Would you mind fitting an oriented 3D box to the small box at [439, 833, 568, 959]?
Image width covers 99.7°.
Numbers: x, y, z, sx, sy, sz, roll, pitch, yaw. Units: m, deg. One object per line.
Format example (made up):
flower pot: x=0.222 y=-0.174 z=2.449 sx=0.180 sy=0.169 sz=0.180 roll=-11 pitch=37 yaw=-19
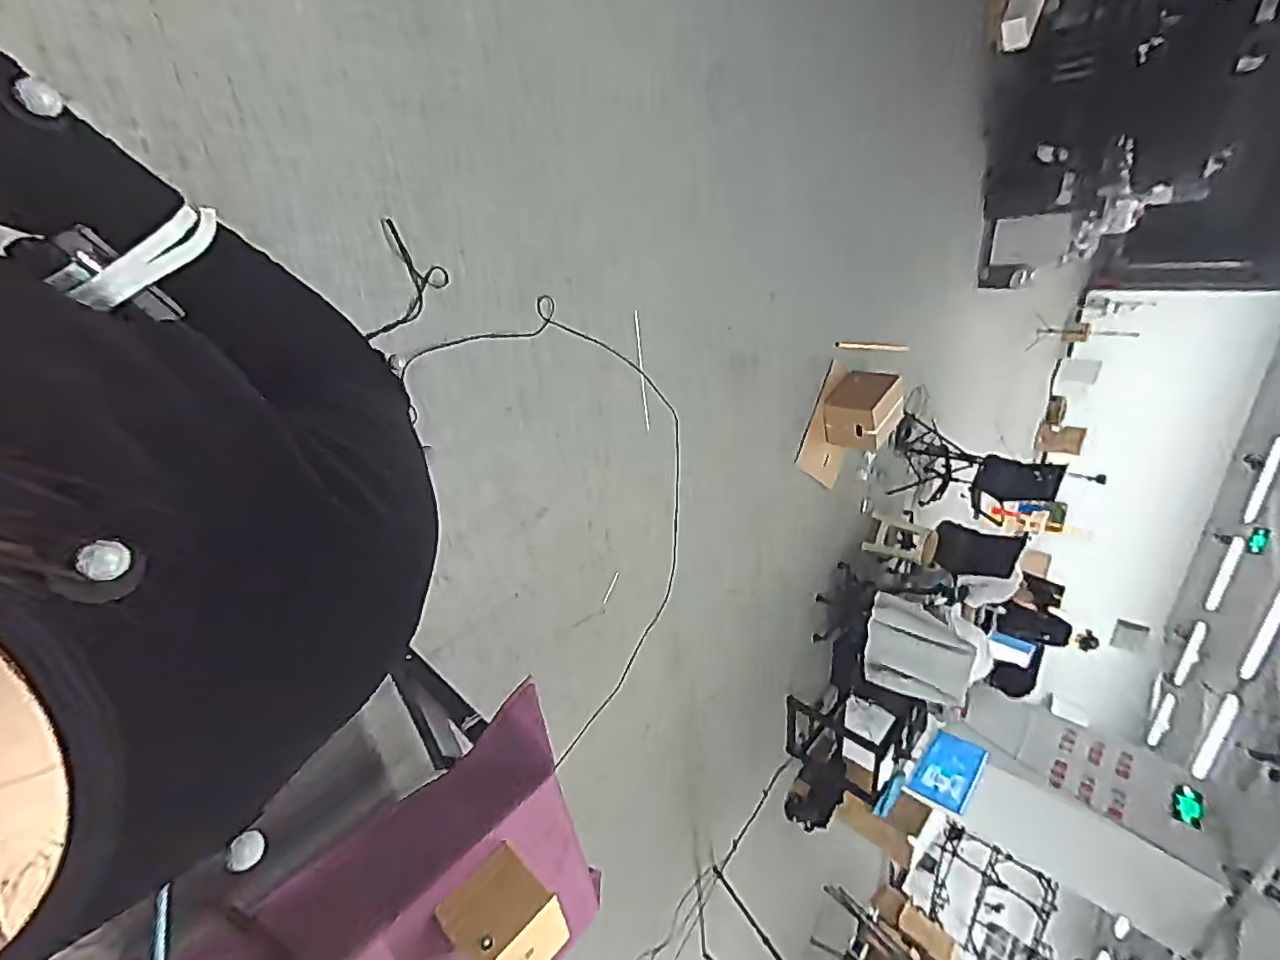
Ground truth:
small box: x=-0.278 y=0.881 z=1.107 sx=0.179 sy=0.176 sz=0.168 roll=-30 pitch=125 yaw=-36
